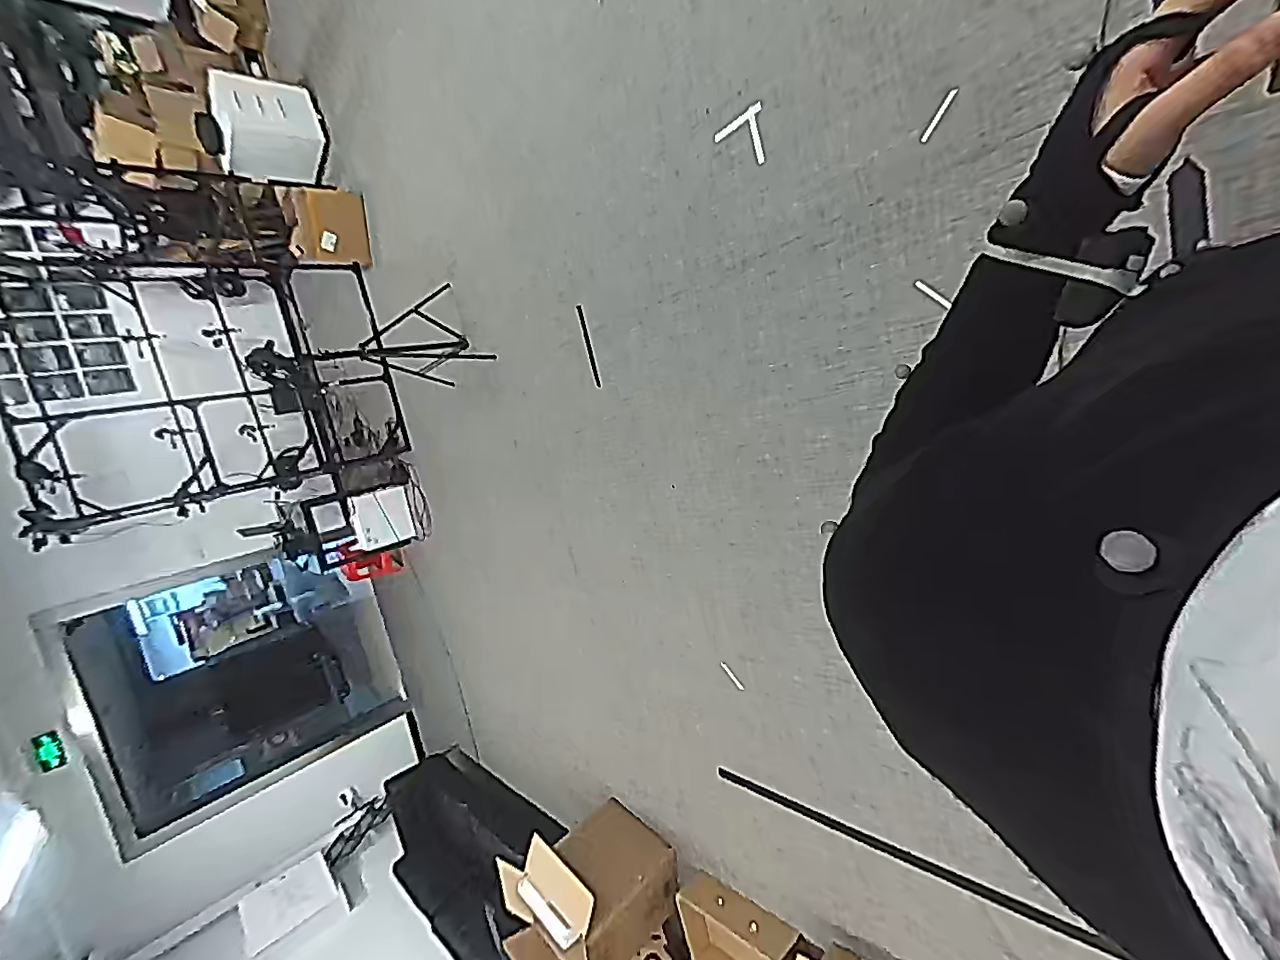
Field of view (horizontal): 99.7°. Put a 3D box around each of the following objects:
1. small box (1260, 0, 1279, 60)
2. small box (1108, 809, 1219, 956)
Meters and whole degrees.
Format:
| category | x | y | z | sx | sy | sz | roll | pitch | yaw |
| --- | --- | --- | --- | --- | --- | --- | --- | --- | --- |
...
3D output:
| category | x | y | z | sx | sy | sz | roll | pitch | yaw |
| --- | --- | --- | --- | --- | --- | --- | --- | --- | --- |
| small box | 0.396 | -0.323 | 0.230 | 0.168 | 0.176 | 0.179 | 3 | 108 | 48 |
| small box | 1.199 | 0.904 | 1.238 | 0.168 | 0.176 | 0.179 | -5 | 100 | 50 |
